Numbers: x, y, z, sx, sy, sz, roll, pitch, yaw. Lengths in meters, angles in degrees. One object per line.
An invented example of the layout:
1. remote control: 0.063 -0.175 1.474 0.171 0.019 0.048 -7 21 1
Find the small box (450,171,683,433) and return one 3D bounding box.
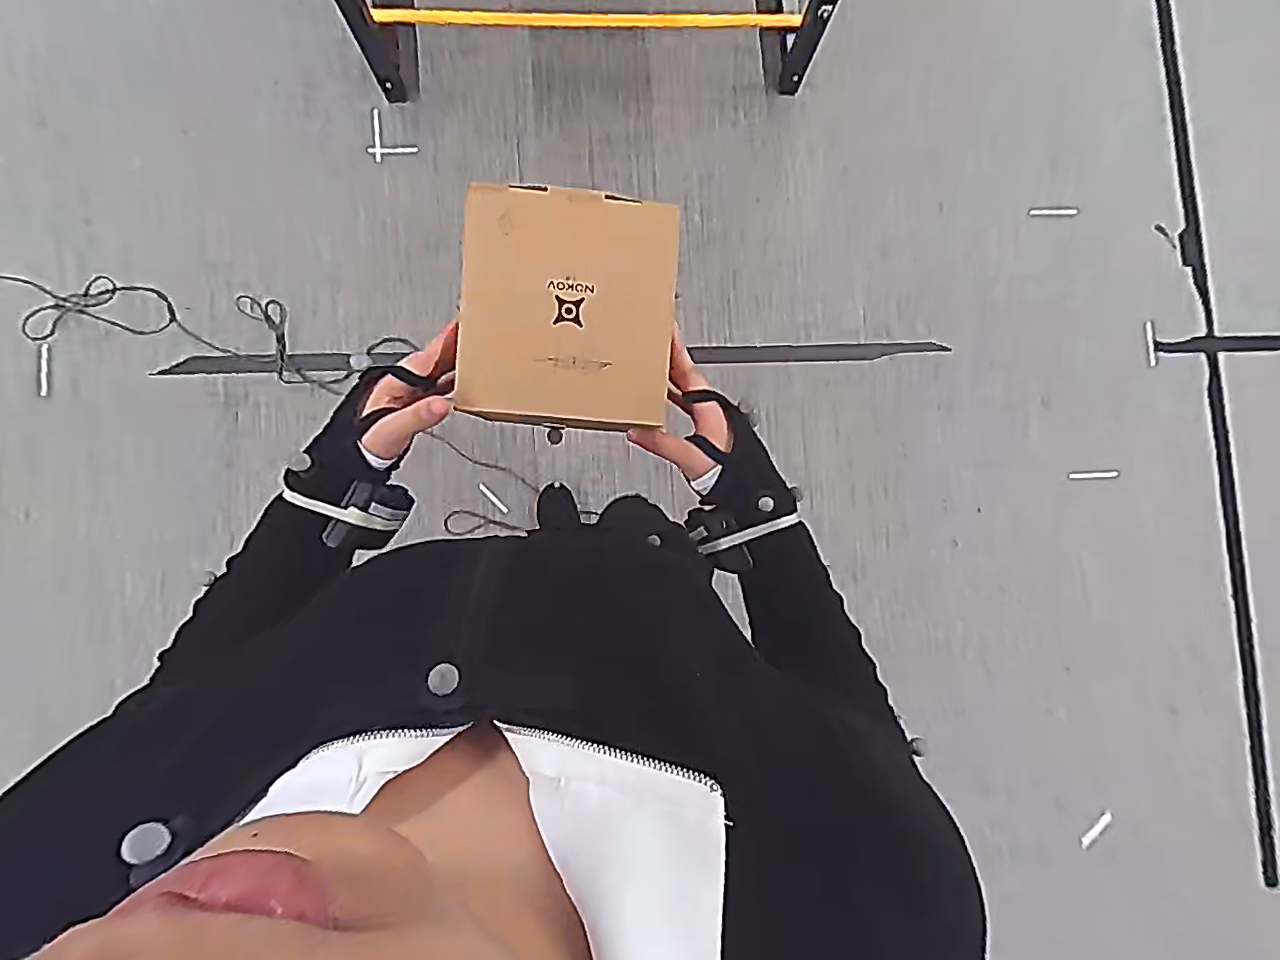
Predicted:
1. small box: -0.063 -0.141 0.492 0.168 0.176 0.179 5 92 -5
